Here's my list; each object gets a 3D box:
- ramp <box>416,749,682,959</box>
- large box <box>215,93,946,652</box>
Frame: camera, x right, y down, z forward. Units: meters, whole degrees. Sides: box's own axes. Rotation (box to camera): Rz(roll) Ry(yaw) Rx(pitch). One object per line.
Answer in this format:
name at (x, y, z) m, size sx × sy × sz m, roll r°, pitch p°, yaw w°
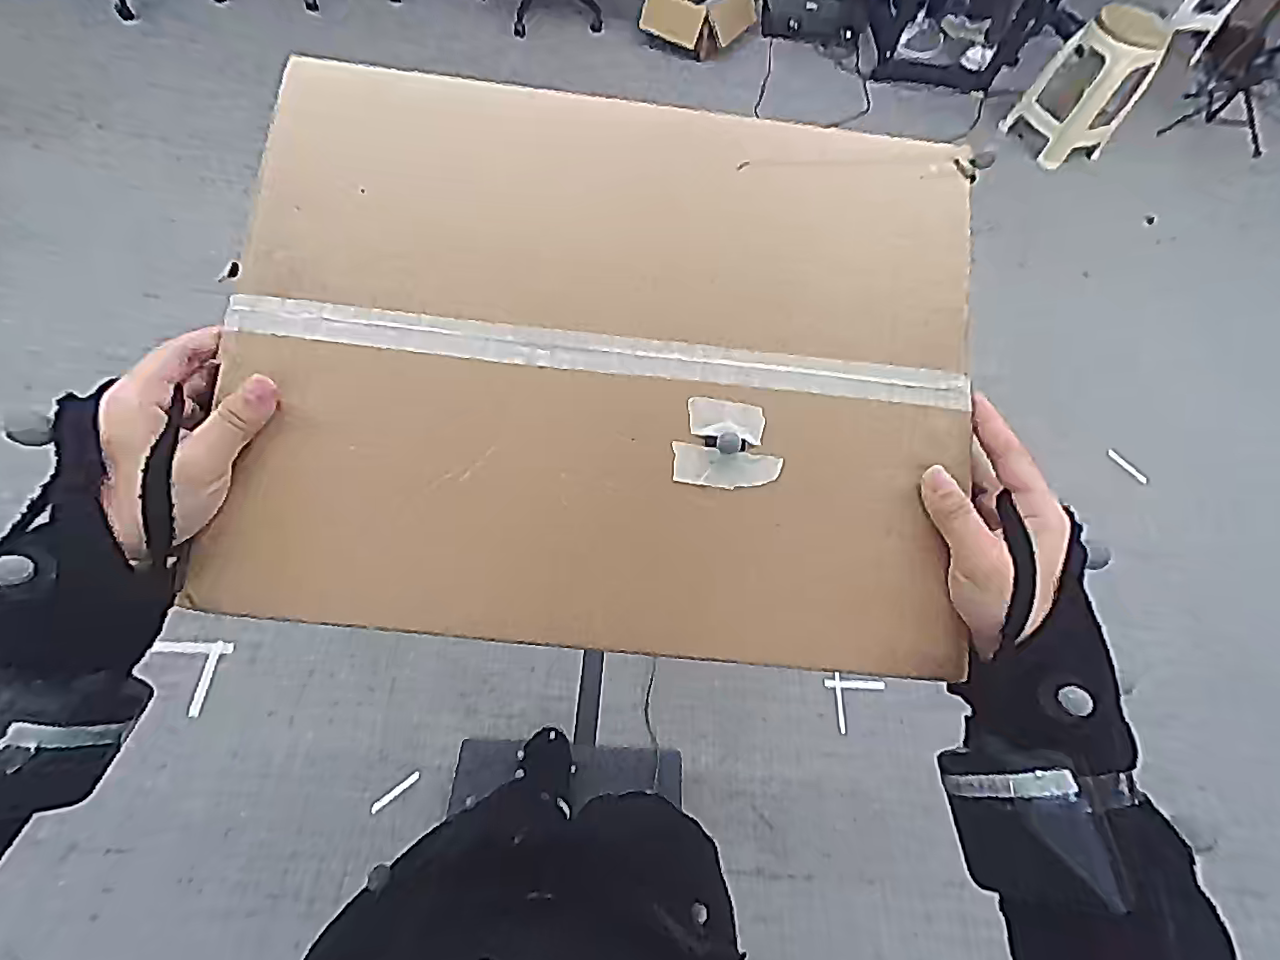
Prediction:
ramp at (-0.173, 1.006, 0.901) m, size 0.509 × 0.206 × 0.991 m, roll 3°, pitch 62°, yaw -2°
large box at (-0.026, -0.049, 0.463) m, size 0.408 × 0.320 × 0.320 m, roll 6°, pitch 82°, yaw -3°
